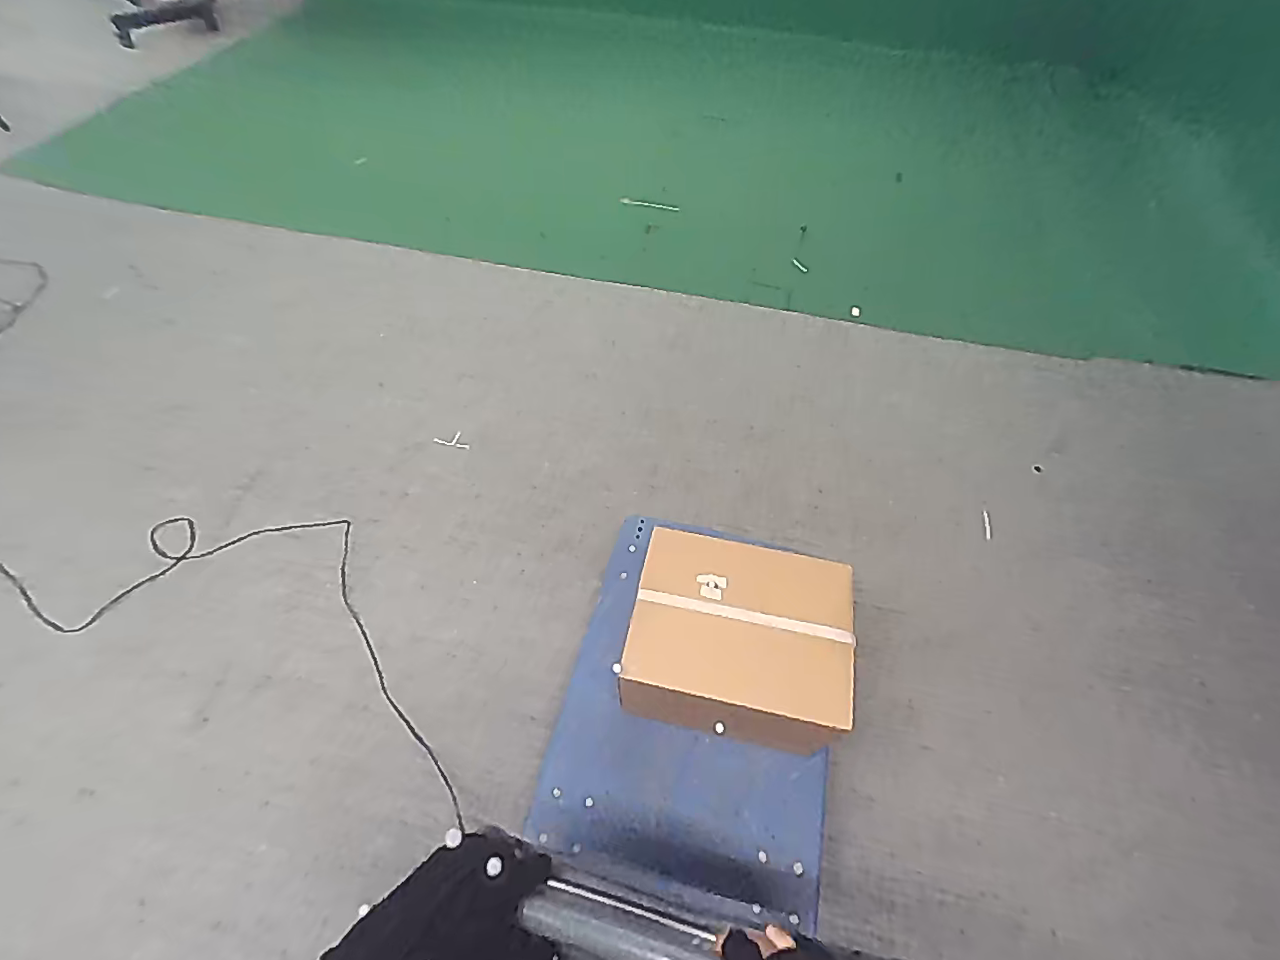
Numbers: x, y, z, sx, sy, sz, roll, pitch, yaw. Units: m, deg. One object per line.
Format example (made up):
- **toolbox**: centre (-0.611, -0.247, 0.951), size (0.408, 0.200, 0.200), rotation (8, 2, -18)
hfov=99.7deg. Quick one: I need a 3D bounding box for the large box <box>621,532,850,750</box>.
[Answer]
- **large box**: centre (0.192, 0.346, 1.138), size (0.408, 0.320, 0.320), rotation (10, 55, 7)
